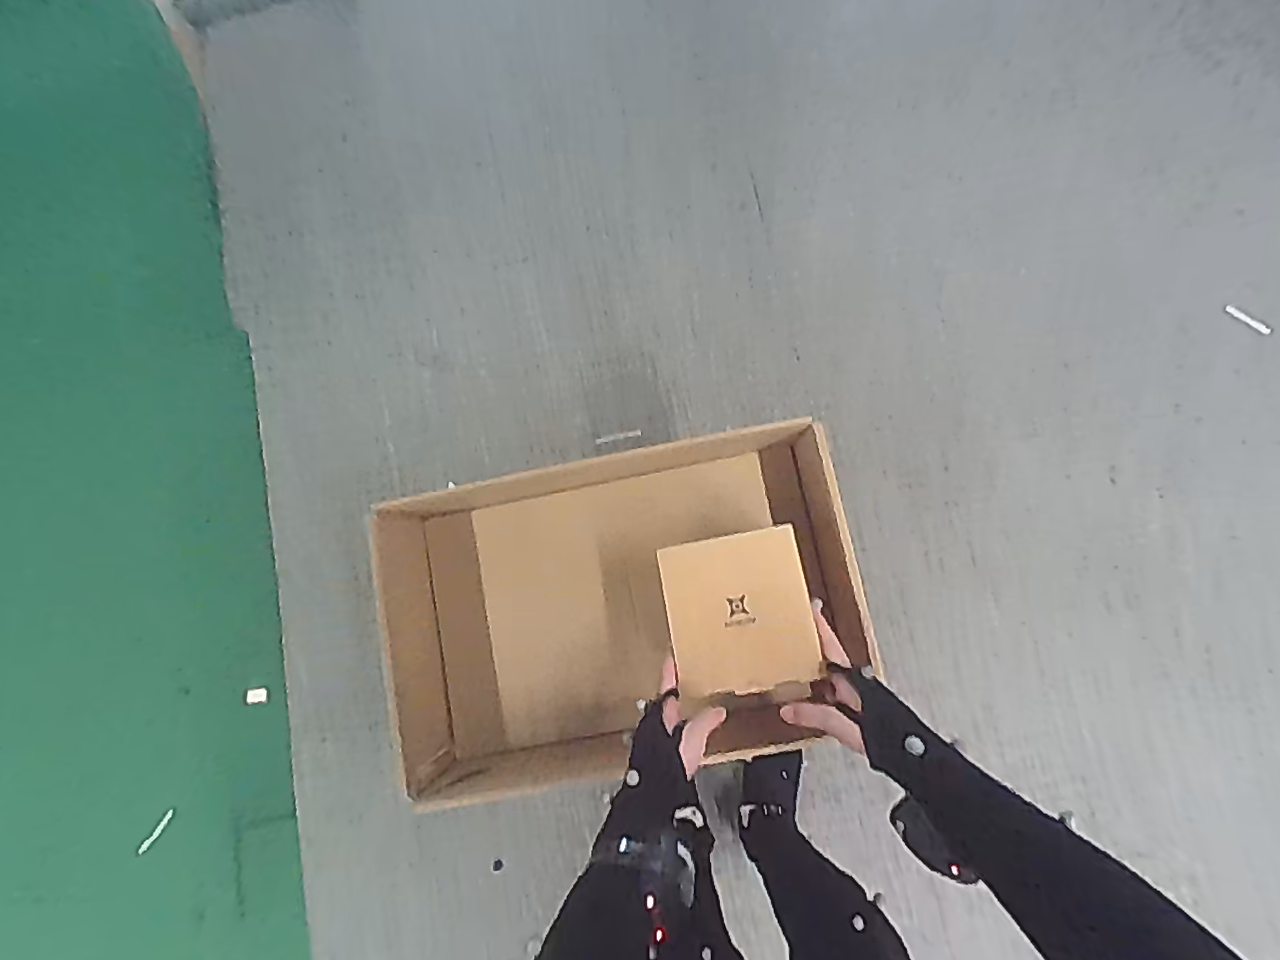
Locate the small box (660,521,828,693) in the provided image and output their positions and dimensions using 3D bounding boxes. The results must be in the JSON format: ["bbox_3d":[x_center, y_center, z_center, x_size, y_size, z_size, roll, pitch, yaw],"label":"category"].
[{"bbox_3d":[0.127,0.164,0.697,0.168,0.176,0.179,-12,74,8],"label":"small box"}]
